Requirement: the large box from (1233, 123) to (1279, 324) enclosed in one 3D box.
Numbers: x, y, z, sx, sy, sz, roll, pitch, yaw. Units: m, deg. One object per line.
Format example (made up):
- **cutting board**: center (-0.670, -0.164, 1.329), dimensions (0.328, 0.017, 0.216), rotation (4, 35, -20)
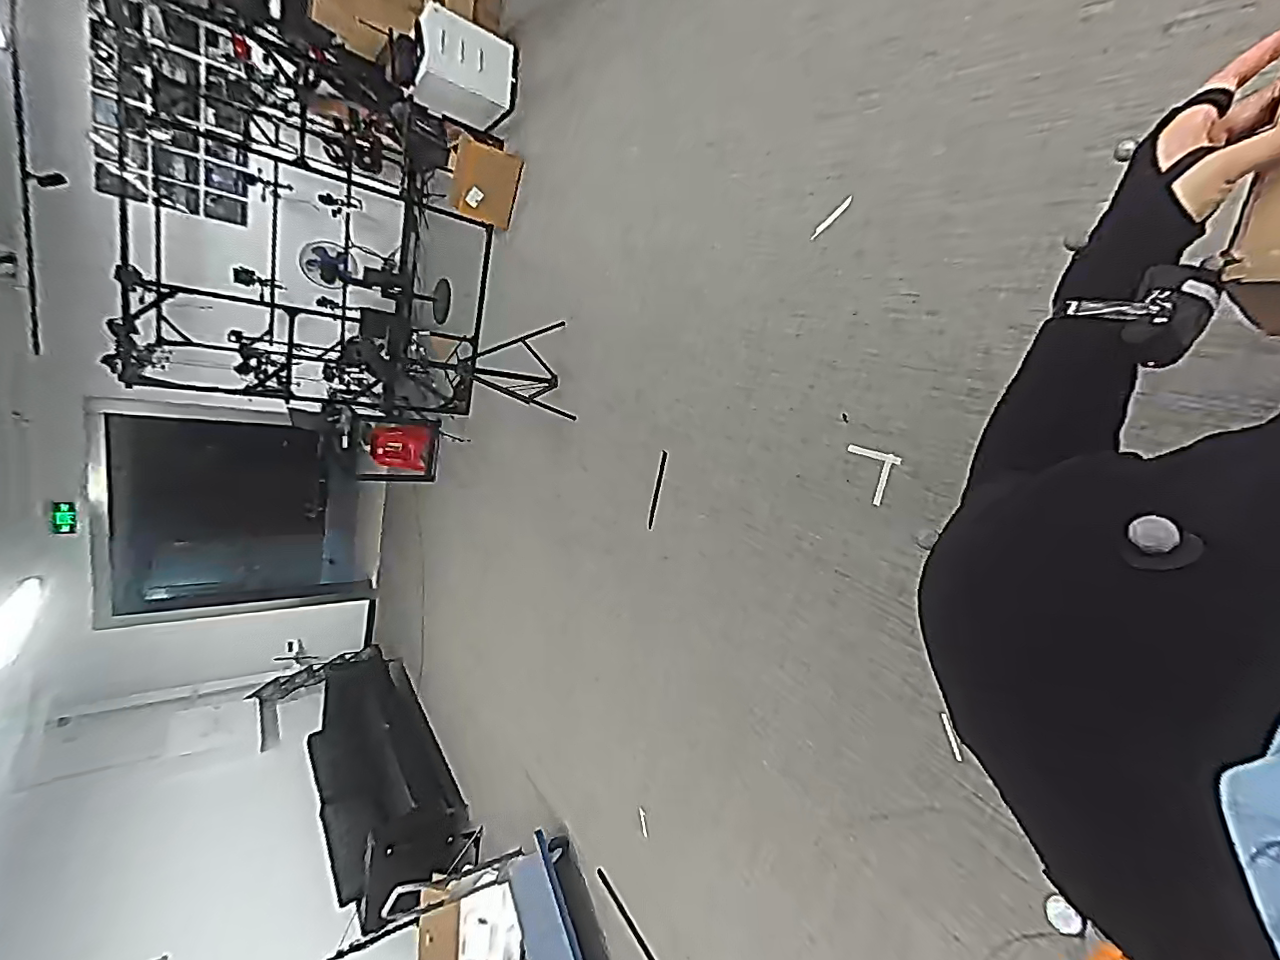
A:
- **large box**: center (0.694, -0.257, 0.304), dimensions (0.408, 0.320, 0.320), rotation (23, 109, 51)
